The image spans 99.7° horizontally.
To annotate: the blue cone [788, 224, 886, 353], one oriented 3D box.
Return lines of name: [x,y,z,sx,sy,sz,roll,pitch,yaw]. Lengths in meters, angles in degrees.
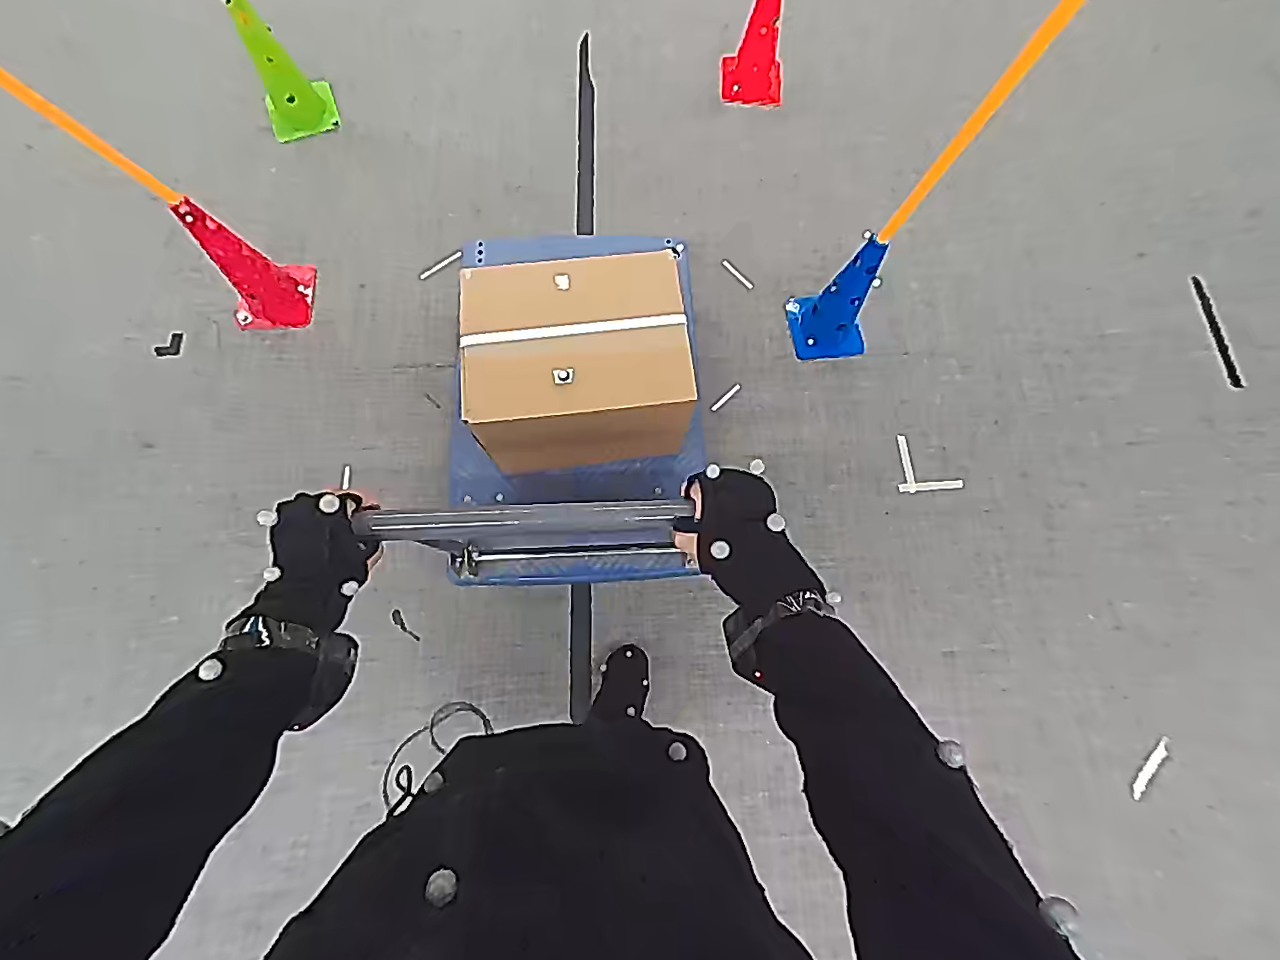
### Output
blue cone: [0.533,-0.496,1.386,0.193,0.380,0.192,-5,73,-3]

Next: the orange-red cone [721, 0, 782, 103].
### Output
orange-red cone: [0.375,-1.365,1.609,0.199,0.360,0.198,5,75,-1]
